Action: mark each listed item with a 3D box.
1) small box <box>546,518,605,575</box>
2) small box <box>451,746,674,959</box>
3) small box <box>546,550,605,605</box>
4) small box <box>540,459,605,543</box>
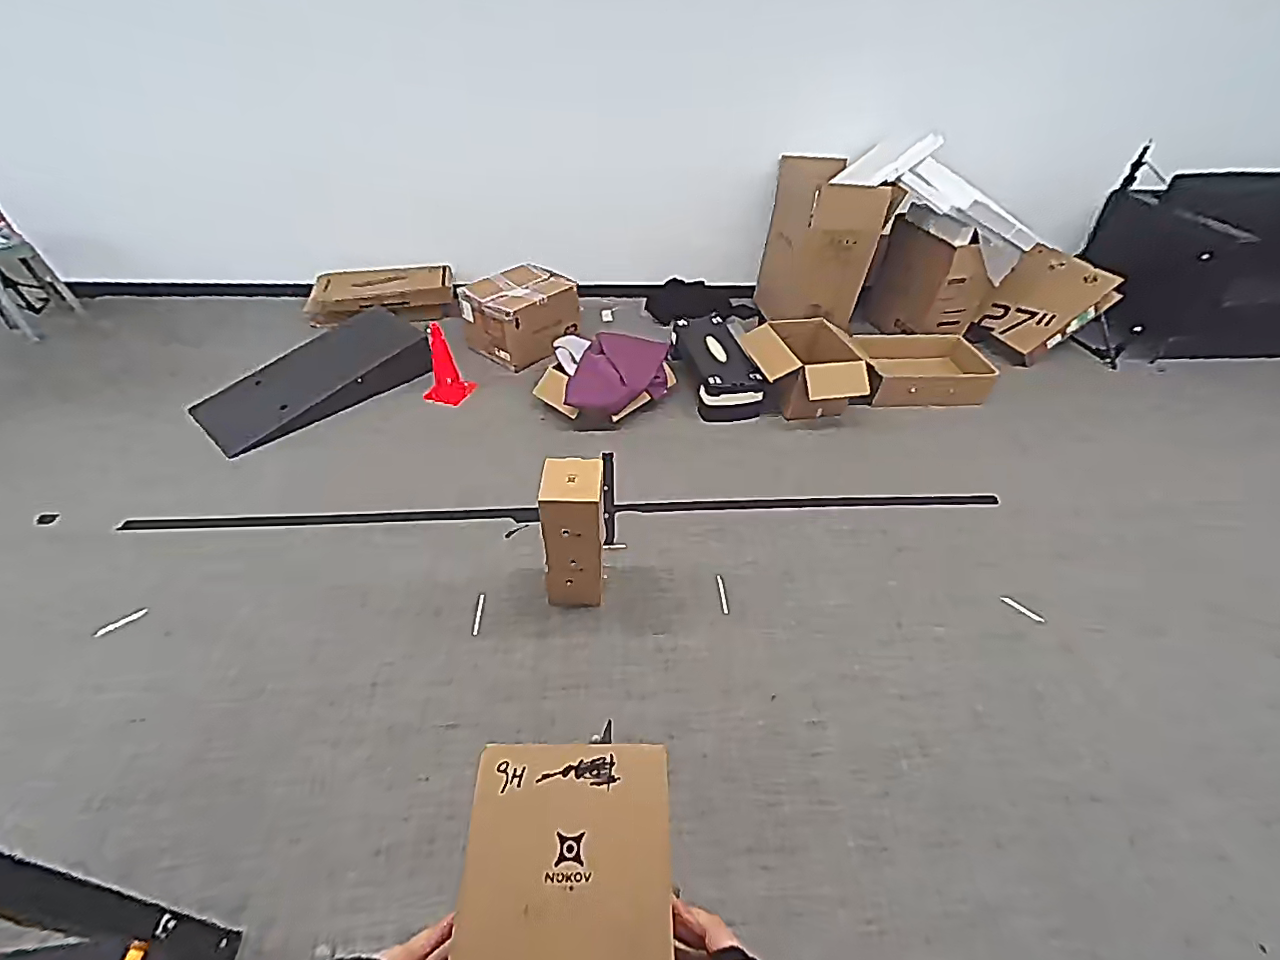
[{"bbox_3d":[-0.194,0.170,1.666,0.168,0.176,0.179,1,43,-2],"label":"small box"},{"bbox_3d":[-0.058,0.354,0.490,0.168,0.176,0.179,1,51,-3],"label":"small box"},{"bbox_3d":[-0.207,0.294,1.773,0.179,0.176,0.168,2,43,-2],"label":"small box"},{"bbox_3d":[-0.186,0.060,1.545,0.168,0.176,0.179,1,44,-1],"label":"small box"}]
